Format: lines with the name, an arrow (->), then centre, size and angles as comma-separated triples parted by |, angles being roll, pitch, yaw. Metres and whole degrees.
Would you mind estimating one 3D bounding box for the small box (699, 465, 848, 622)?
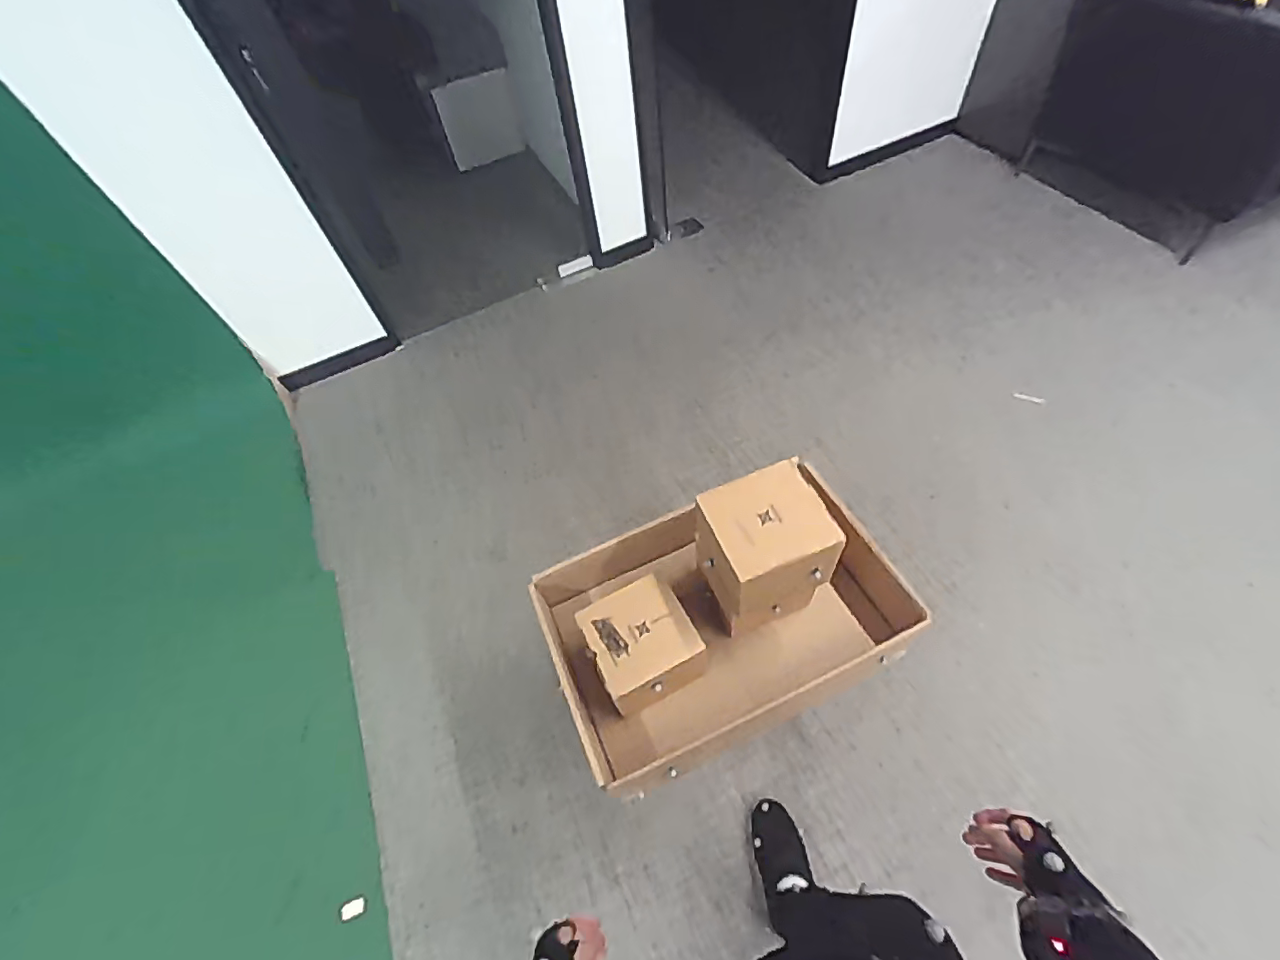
small box -> 0.208, 0.109, 0.891 | 0.179, 0.176, 0.168 | -21, 56, -5
